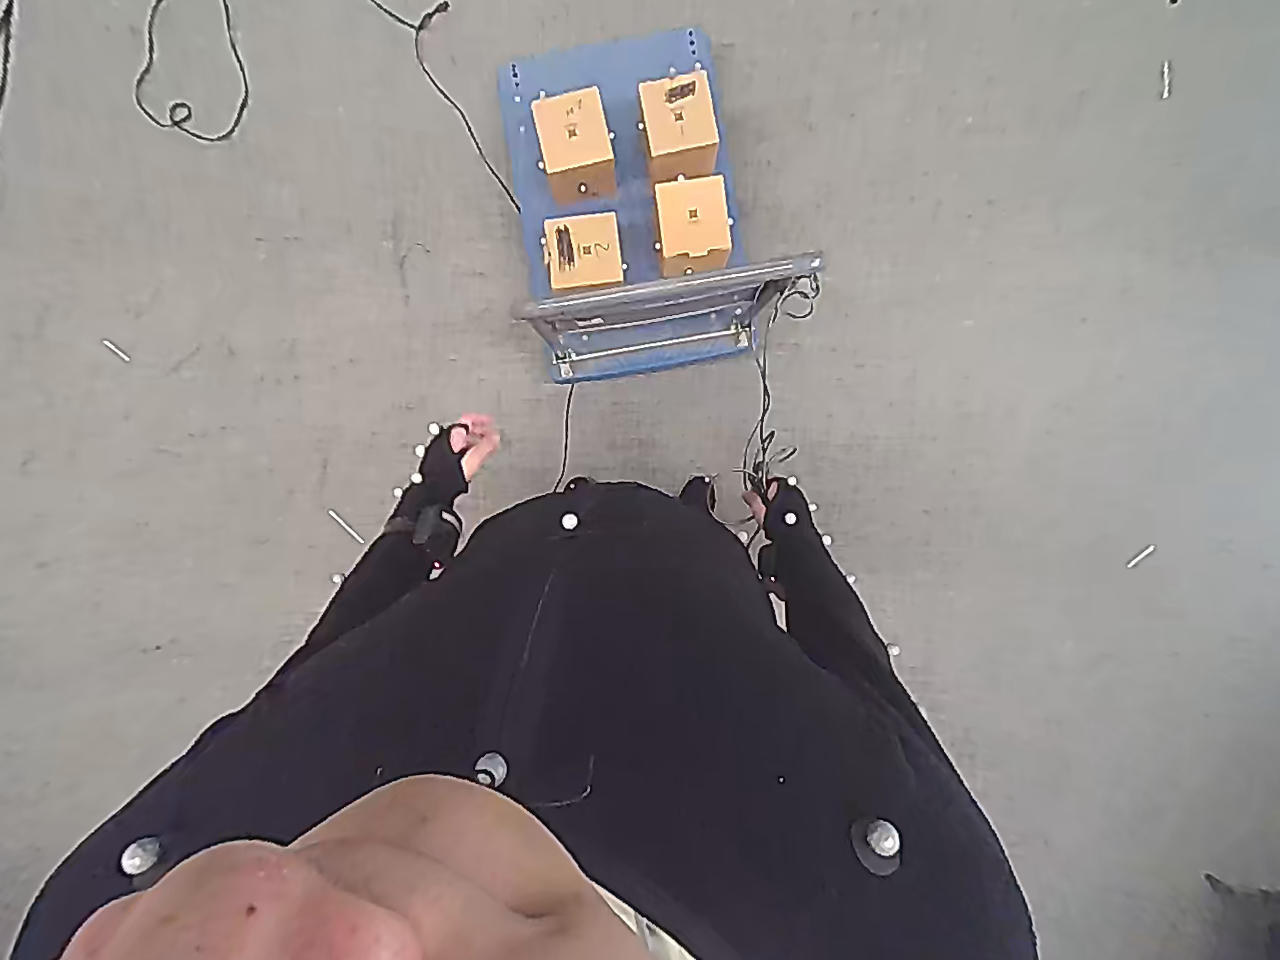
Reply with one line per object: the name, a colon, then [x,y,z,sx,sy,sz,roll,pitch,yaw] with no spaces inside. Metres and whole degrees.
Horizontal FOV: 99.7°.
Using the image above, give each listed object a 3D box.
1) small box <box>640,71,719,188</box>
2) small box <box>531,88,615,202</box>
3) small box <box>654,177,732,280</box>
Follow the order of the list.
small box: [0.093,-0.866,1.352,0.168,0.176,0.179,-11,93,2]
small box: [-0.161,-0.826,1.357,0.168,0.176,0.179,-13,92,0]
small box: [0.127,-0.626,1.362,0.168,0.176,0.179,-8,92,1]
